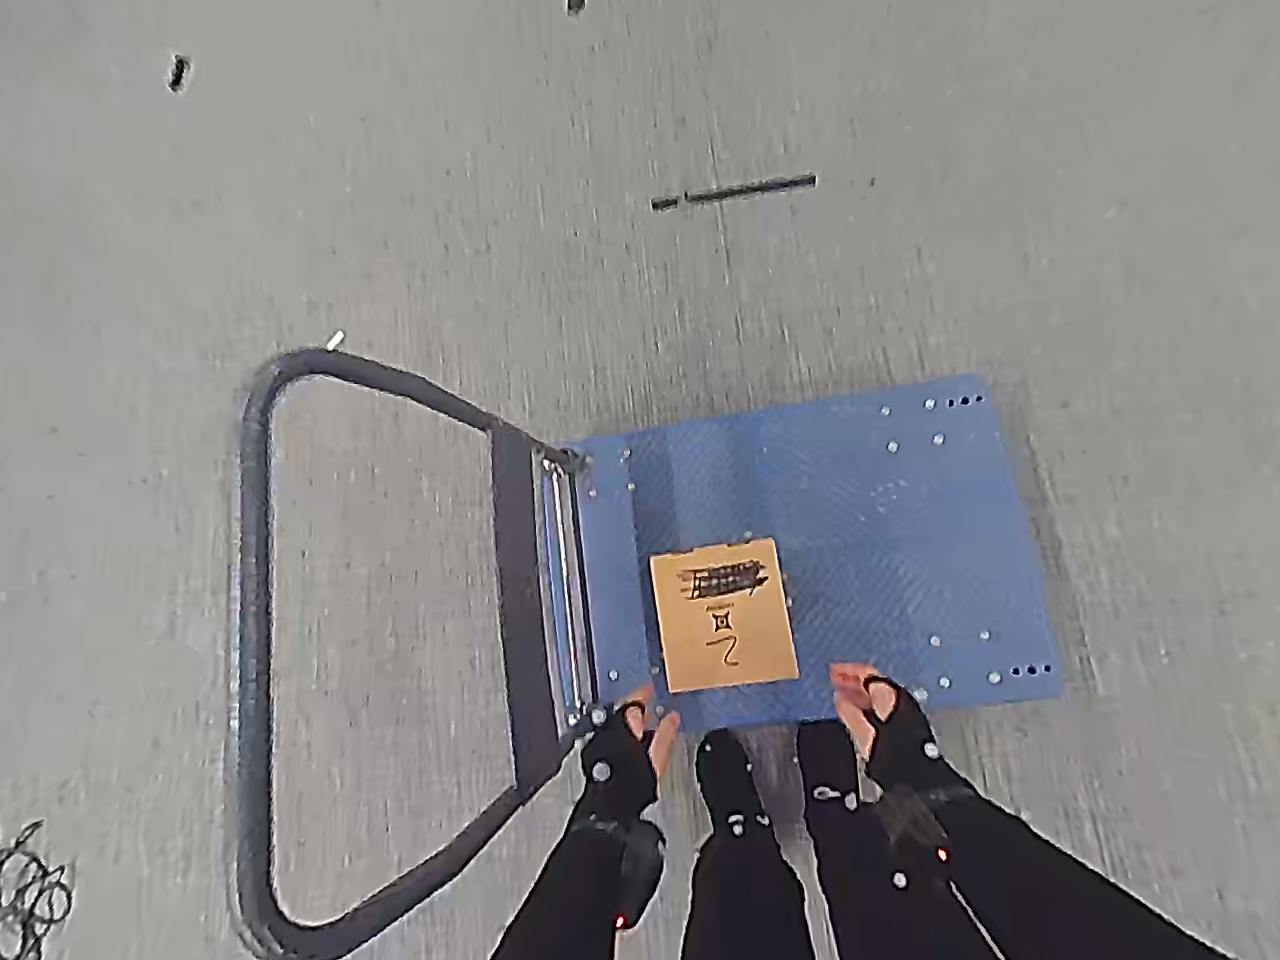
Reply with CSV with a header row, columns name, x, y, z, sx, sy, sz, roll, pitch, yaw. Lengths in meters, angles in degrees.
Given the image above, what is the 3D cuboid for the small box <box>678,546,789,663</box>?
name,x,y,z,sx,sy,sz,roll,pitch,yaw
small box,0.157,0.211,0.929,0.168,0.176,0.179,-5,80,9
